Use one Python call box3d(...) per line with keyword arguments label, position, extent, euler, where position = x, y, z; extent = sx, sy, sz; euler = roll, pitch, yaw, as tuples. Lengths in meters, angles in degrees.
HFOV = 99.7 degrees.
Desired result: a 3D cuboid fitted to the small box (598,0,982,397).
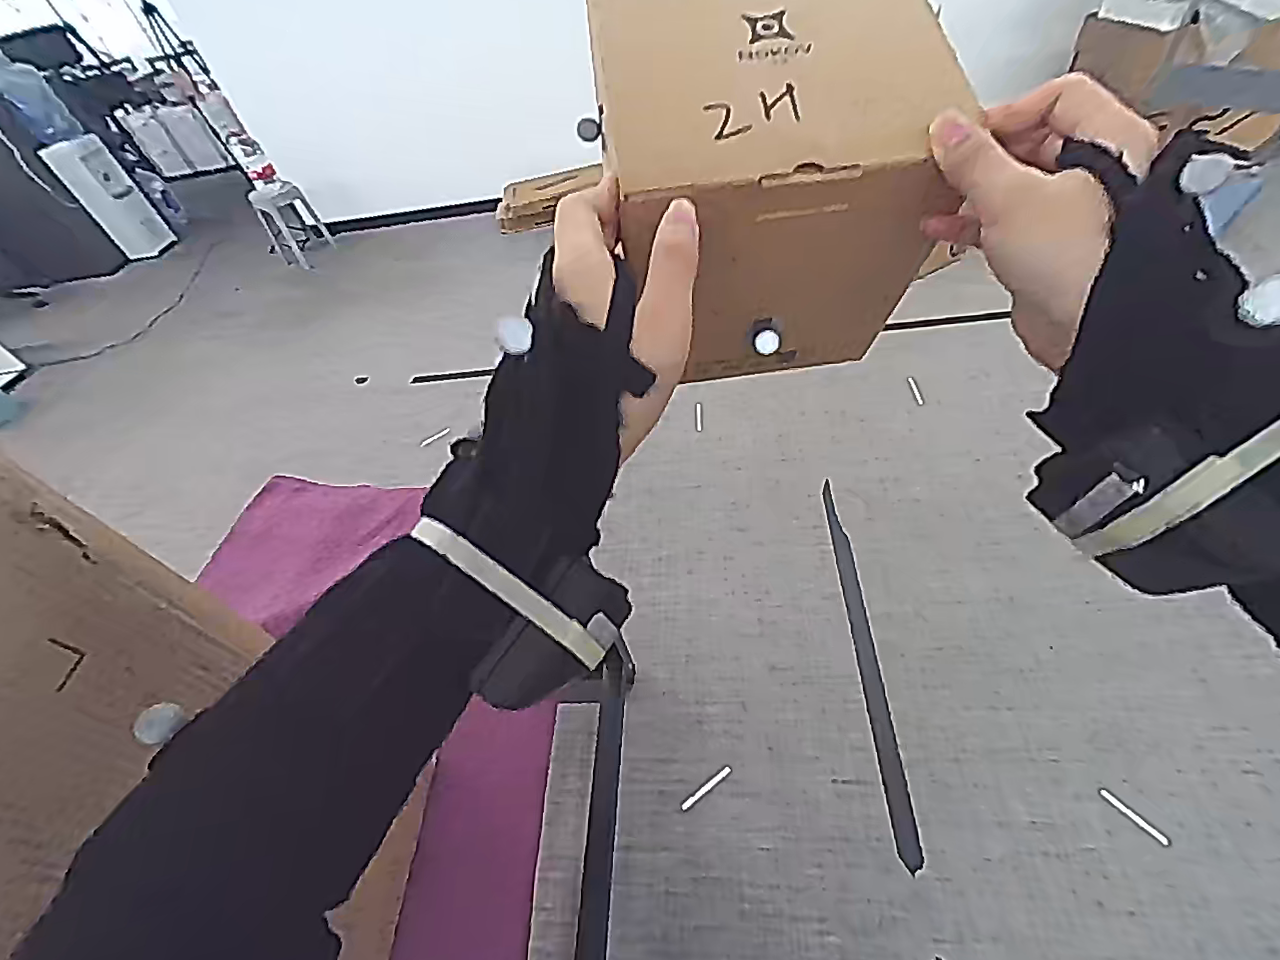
box3d(label="small box", position=(0.067, -0.176, 0.348), extent=(0.168, 0.176, 0.179), euler=(-8, 70, 0))
